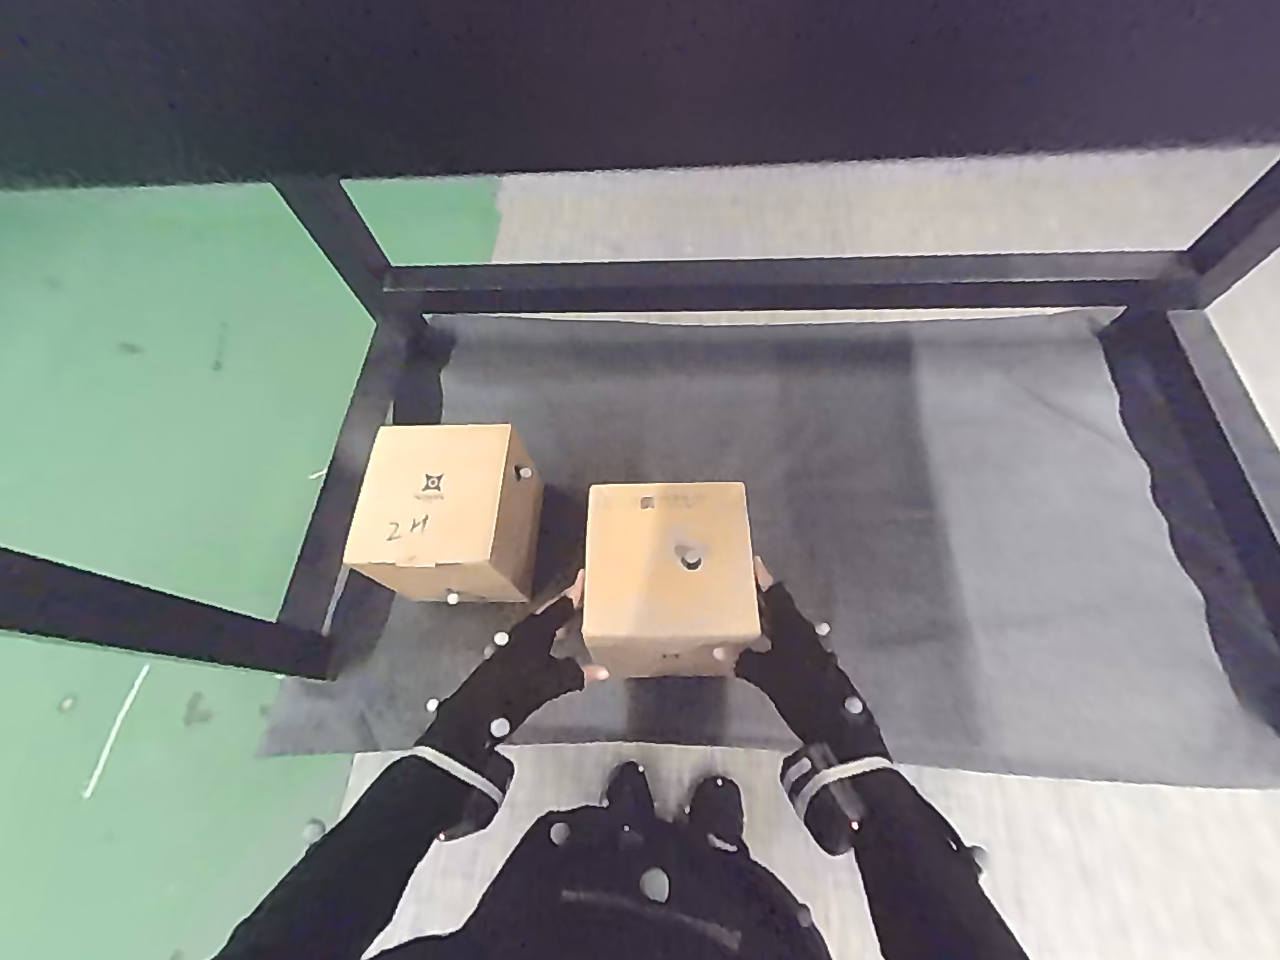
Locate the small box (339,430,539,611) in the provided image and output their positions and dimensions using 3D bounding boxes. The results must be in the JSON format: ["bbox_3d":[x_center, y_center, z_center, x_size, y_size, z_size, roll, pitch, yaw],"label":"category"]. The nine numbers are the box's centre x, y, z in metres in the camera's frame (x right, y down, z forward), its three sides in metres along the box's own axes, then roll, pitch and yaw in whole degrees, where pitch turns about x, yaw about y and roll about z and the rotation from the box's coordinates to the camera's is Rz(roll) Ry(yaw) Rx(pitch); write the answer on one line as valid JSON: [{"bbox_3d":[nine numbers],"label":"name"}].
[{"bbox_3d":[-0.232,0.054,0.680,0.168,0.176,0.179,0,62,5],"label":"small box"}]
